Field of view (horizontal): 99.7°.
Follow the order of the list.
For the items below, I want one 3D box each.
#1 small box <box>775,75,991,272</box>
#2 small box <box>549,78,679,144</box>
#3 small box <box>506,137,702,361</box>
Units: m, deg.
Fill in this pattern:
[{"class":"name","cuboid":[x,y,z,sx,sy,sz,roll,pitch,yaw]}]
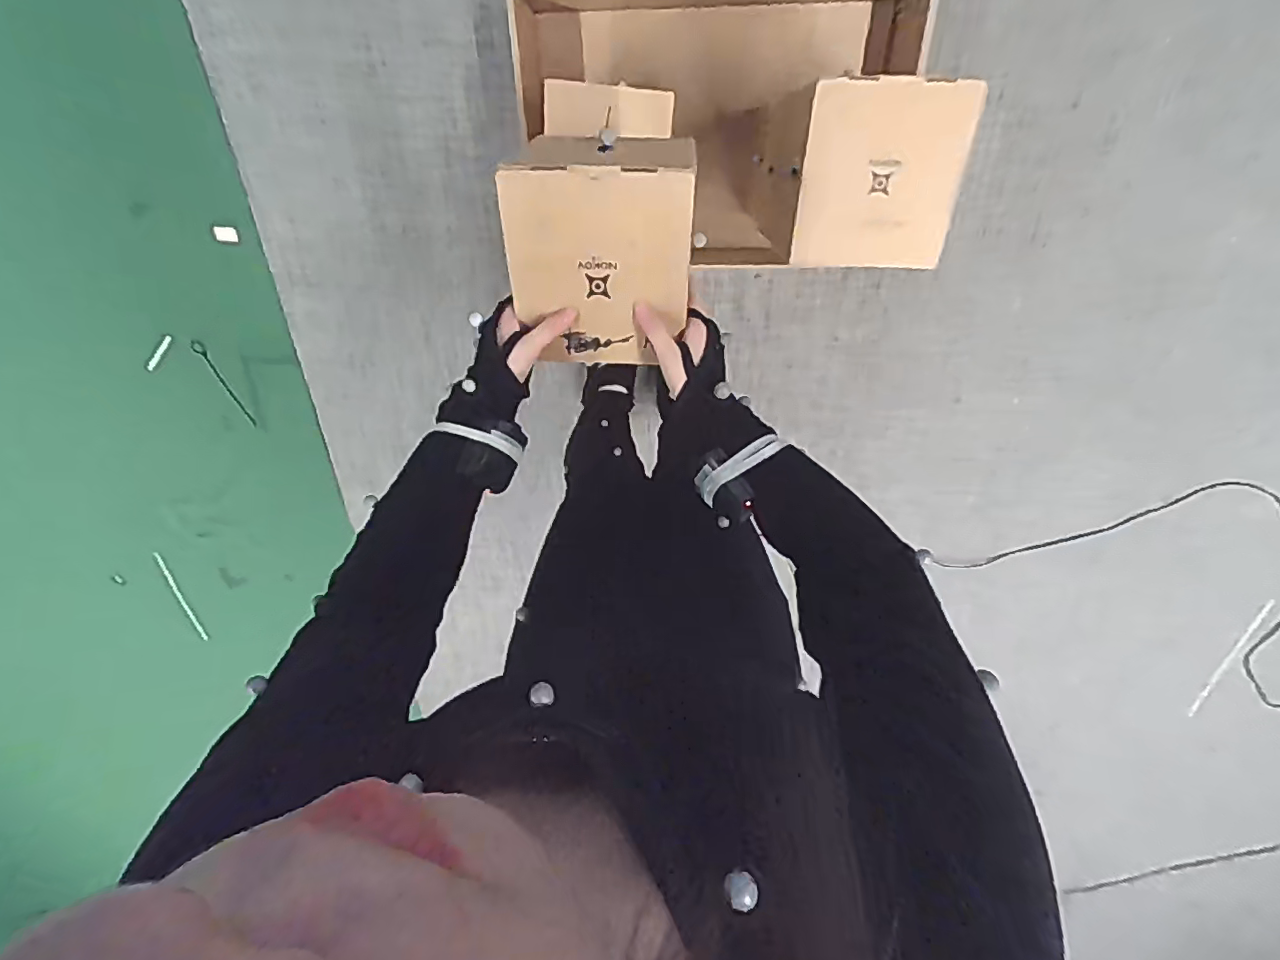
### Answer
[{"class":"small box","cuboid":[0.262,-0.353,0.636,0.168,0.176,0.179,4,121,3]},{"class":"small box","cuboid":[-0.034,-0.456,0.784,0.168,0.176,0.179,6,120,0]},{"class":"small box","cuboid":[-0.027,-0.242,0.557,0.168,0.176,0.179,4,129,3]}]
